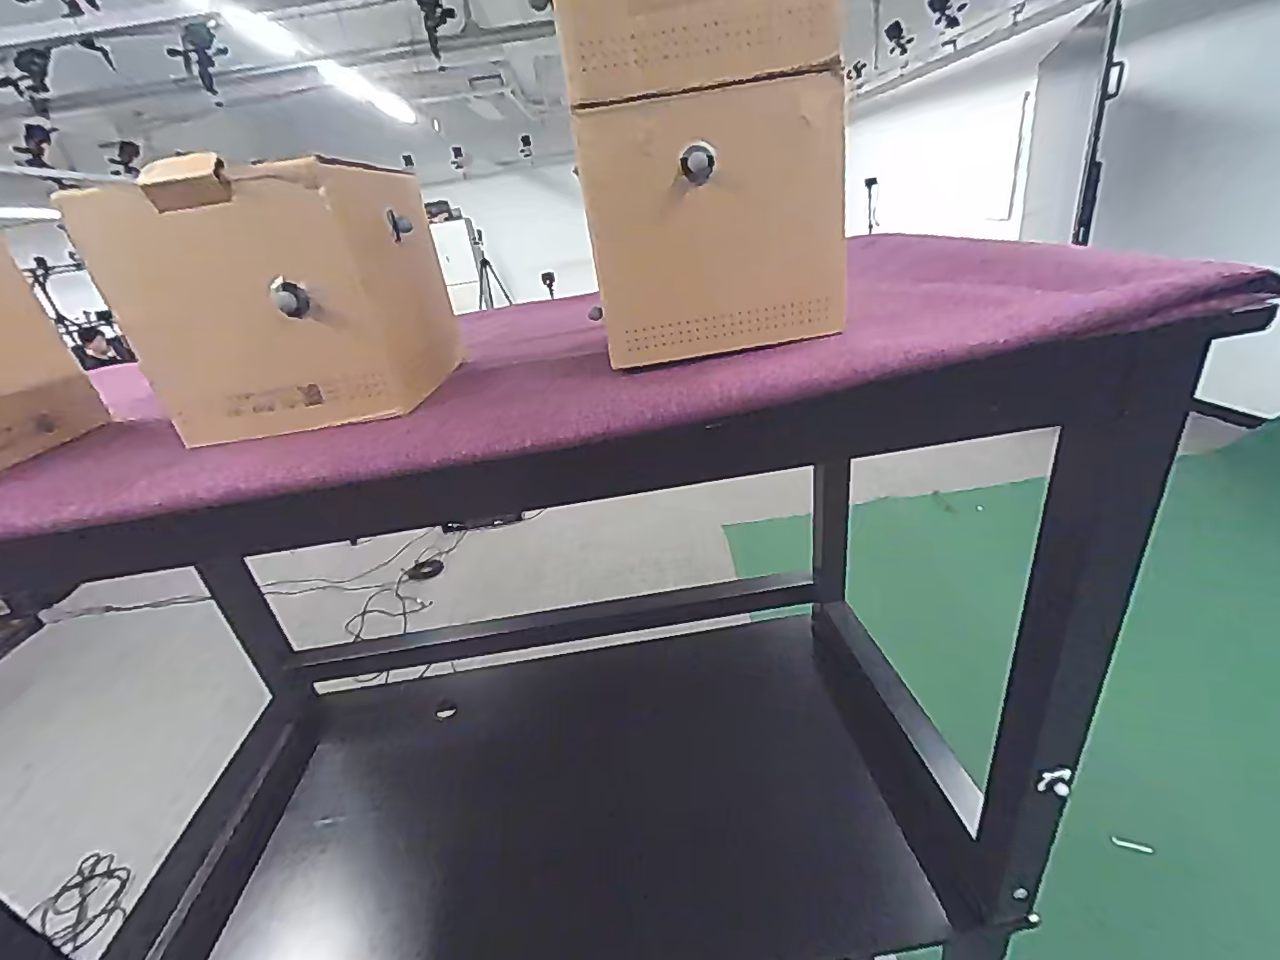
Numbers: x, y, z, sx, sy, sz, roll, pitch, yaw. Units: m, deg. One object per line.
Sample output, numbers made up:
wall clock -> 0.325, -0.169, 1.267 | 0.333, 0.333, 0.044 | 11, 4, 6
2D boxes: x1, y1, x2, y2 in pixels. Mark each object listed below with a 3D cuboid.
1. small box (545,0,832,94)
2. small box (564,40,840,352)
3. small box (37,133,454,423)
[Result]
small box -> 0.019, -0.354, 0.369 | 0.179, 0.176, 0.168 | -9, 24, -1
small box -> 0.045, -0.206, 0.430 | 0.179, 0.176, 0.168 | -9, 24, -1
small box -> -0.262, -0.148, 0.419 | 0.168, 0.176, 0.179 | -8, 26, 0
